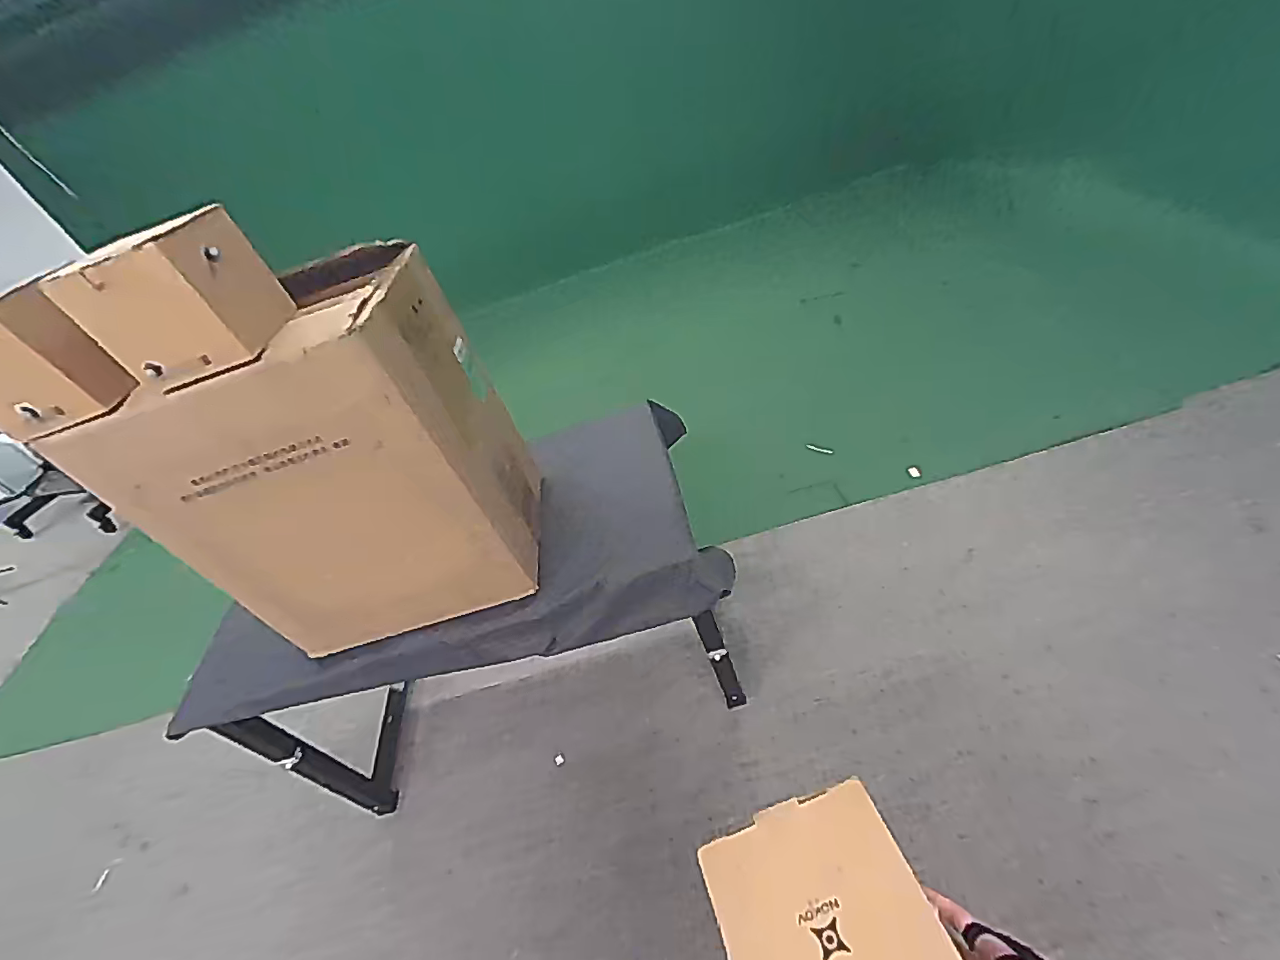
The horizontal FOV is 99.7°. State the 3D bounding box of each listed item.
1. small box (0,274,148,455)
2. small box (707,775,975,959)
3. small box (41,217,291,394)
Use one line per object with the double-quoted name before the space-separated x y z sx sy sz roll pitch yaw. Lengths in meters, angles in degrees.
"small box" -0.860 -0.166 0.790 0.168 0.176 0.179 -19 41 8
"small box" 0.181 0.409 0.480 0.168 0.176 0.179 -26 39 0
"small box" -0.642 -0.240 0.766 0.168 0.176 0.179 -17 39 5
